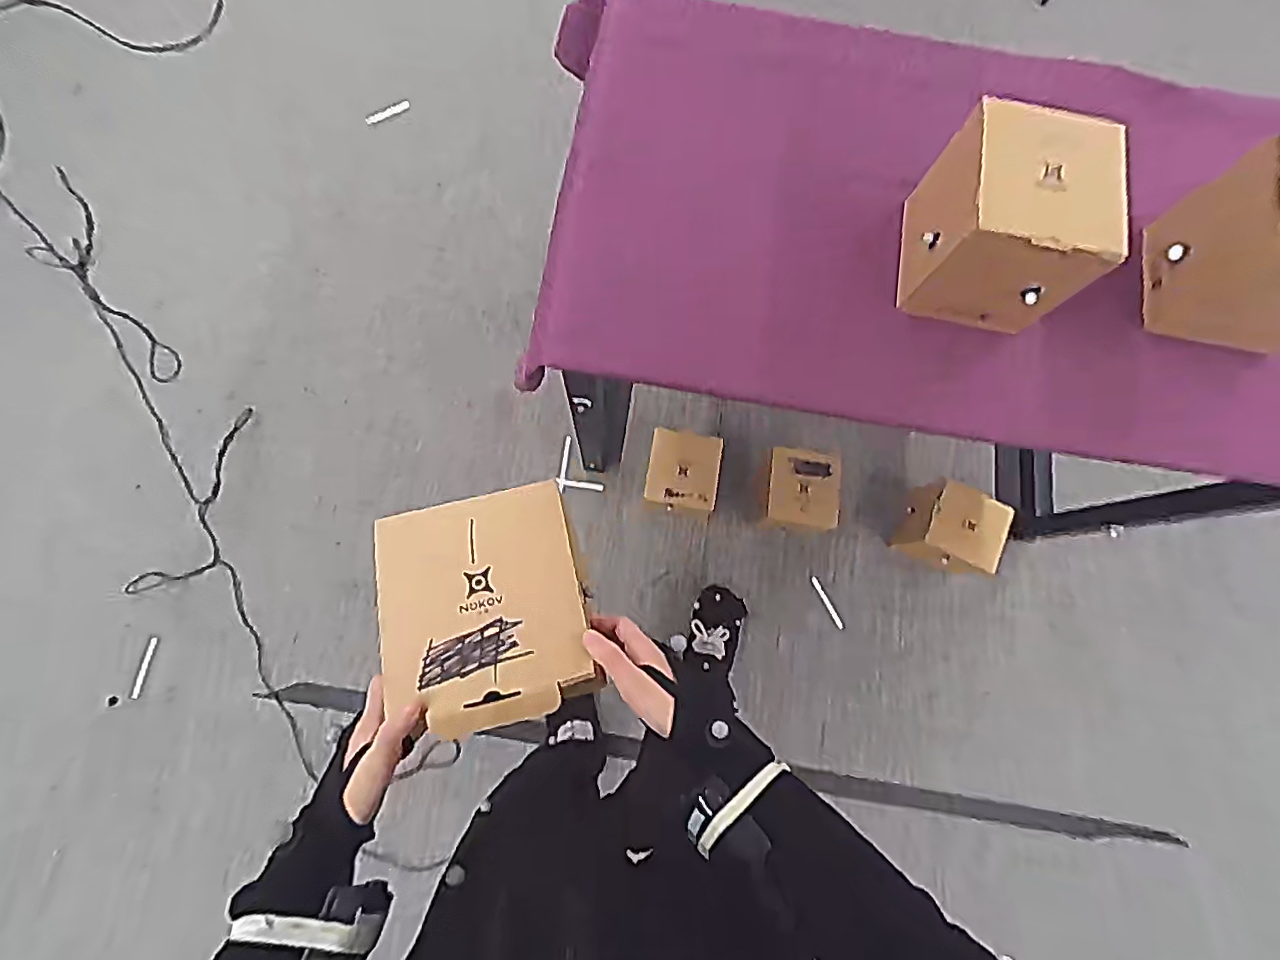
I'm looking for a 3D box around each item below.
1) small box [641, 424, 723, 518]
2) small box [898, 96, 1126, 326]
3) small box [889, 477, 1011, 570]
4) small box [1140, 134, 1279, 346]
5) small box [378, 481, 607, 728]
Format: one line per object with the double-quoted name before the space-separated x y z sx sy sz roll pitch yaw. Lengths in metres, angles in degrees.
"small box" 0.097 -0.016 1.328 0.168 0.176 0.179 10 77 -1
"small box" 0.438 -0.313 0.662 0.168 0.176 0.179 10 76 -2
"small box" 0.758 0.112 1.336 0.179 0.176 0.168 25 79 4
"small box" 0.786 -0.286 0.672 0.179 0.176 0.168 11 77 0
"small box" -0.131 0.127 0.523 0.168 0.176 0.179 -13 66 -6
